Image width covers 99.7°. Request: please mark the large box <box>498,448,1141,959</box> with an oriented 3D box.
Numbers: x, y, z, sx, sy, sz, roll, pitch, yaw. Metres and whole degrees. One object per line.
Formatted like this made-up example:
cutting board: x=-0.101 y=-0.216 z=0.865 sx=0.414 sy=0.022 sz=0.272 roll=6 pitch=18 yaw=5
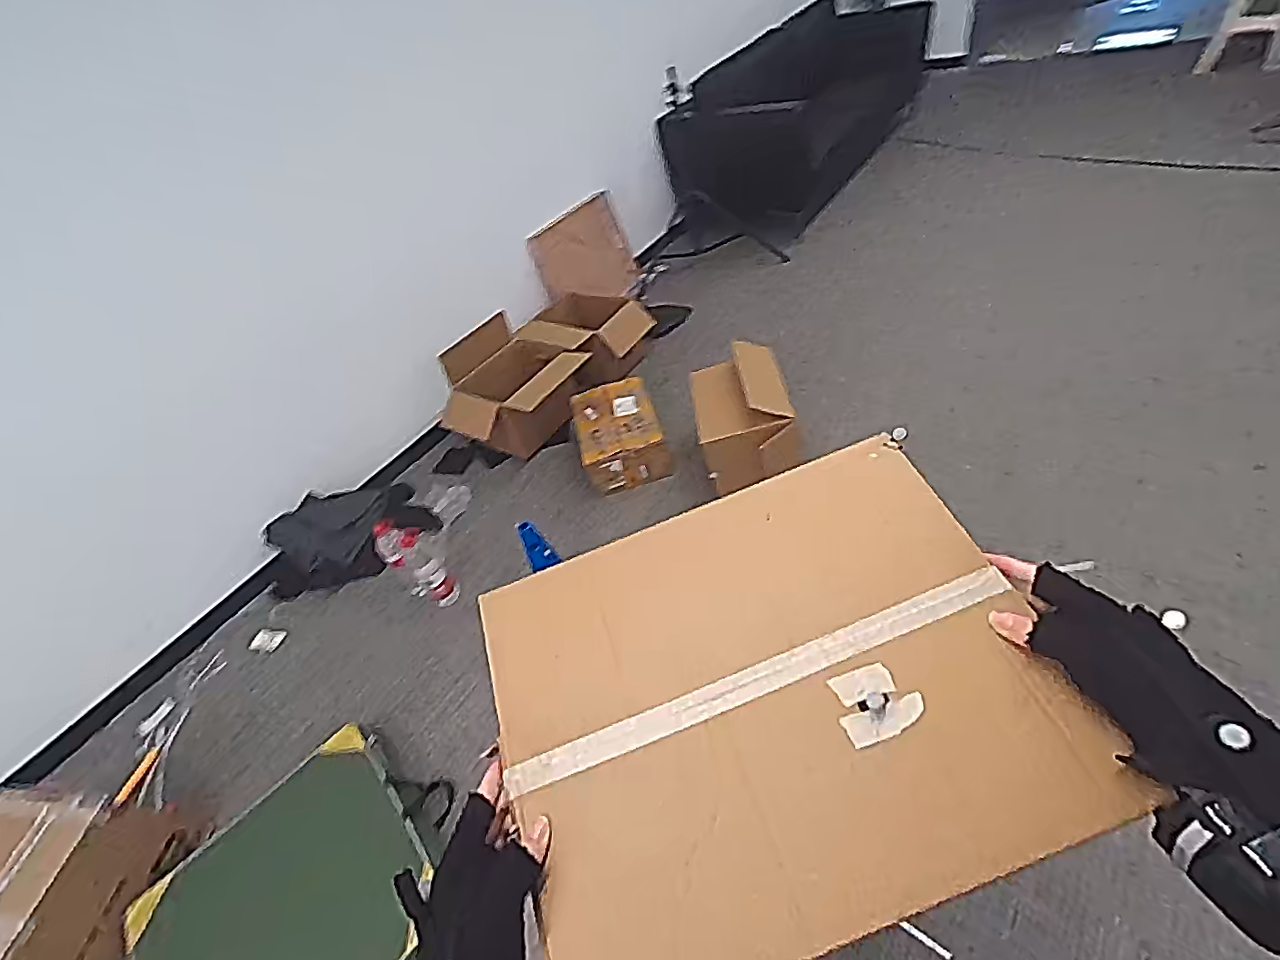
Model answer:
large box: x=0.125 y=0.238 z=0.550 sx=0.408 sy=0.320 sz=0.320 roll=-22 pitch=57 yaw=-1
